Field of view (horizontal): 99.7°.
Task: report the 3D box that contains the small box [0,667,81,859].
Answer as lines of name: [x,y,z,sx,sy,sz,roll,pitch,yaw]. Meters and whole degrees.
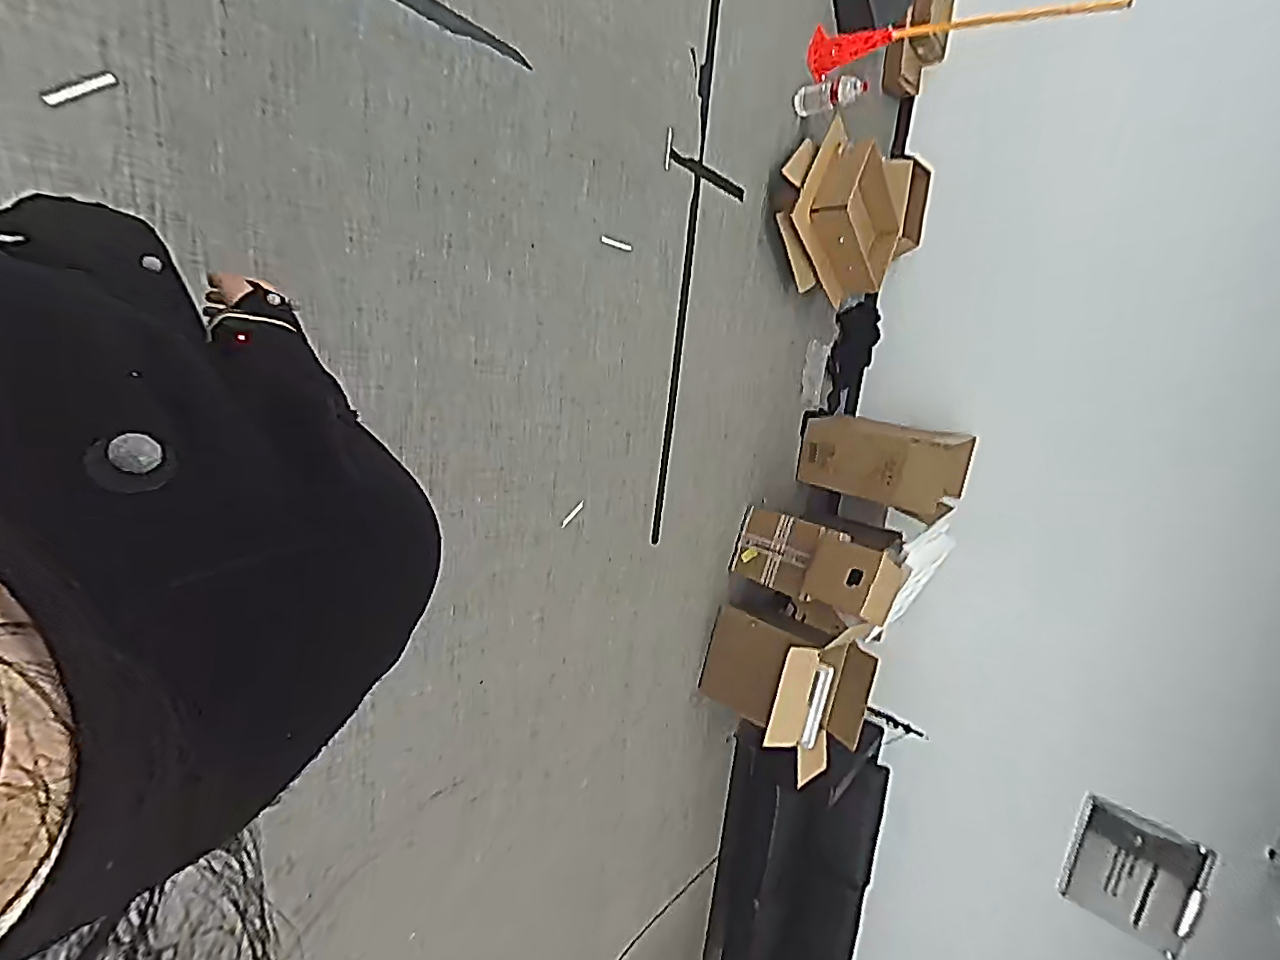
small box: [-0.825,0.354,0.675,0.168,0.176,0.179,0,102,-48]
